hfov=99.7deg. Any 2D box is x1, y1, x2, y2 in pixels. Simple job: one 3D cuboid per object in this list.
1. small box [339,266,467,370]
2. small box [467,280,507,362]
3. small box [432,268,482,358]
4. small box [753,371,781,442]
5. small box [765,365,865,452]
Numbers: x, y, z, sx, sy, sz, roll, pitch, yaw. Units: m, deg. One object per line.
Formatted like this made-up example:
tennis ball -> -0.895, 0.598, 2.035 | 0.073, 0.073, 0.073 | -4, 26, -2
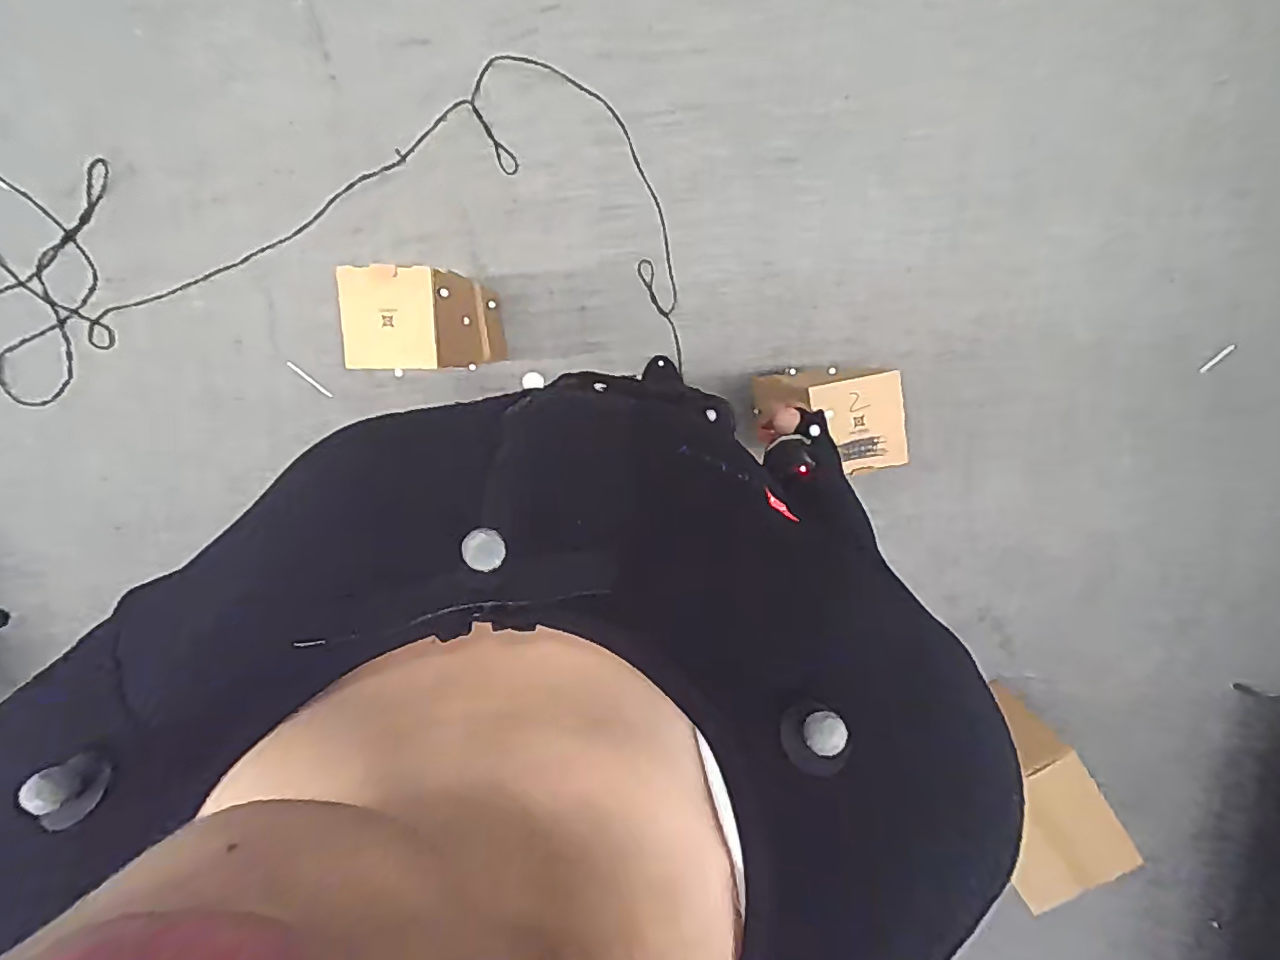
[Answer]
small box -> -0.436, -0.300, 1.025 | 0.168, 0.176, 0.179 | 0, 102, 0
small box -> -0.438, -0.385, 1.340 | 0.168, 0.176, 0.179 | -6, 102, 2
small box -> -0.456, -0.353, 1.180 | 0.168, 0.176, 0.179 | -5, 101, 1
small box -> 0.390, -0.193, 1.388 | 0.179, 0.176, 0.168 | -5, 103, 1
small box -> 0.389, -0.166, 1.227 | 0.179, 0.176, 0.168 | -8, 104, 1
